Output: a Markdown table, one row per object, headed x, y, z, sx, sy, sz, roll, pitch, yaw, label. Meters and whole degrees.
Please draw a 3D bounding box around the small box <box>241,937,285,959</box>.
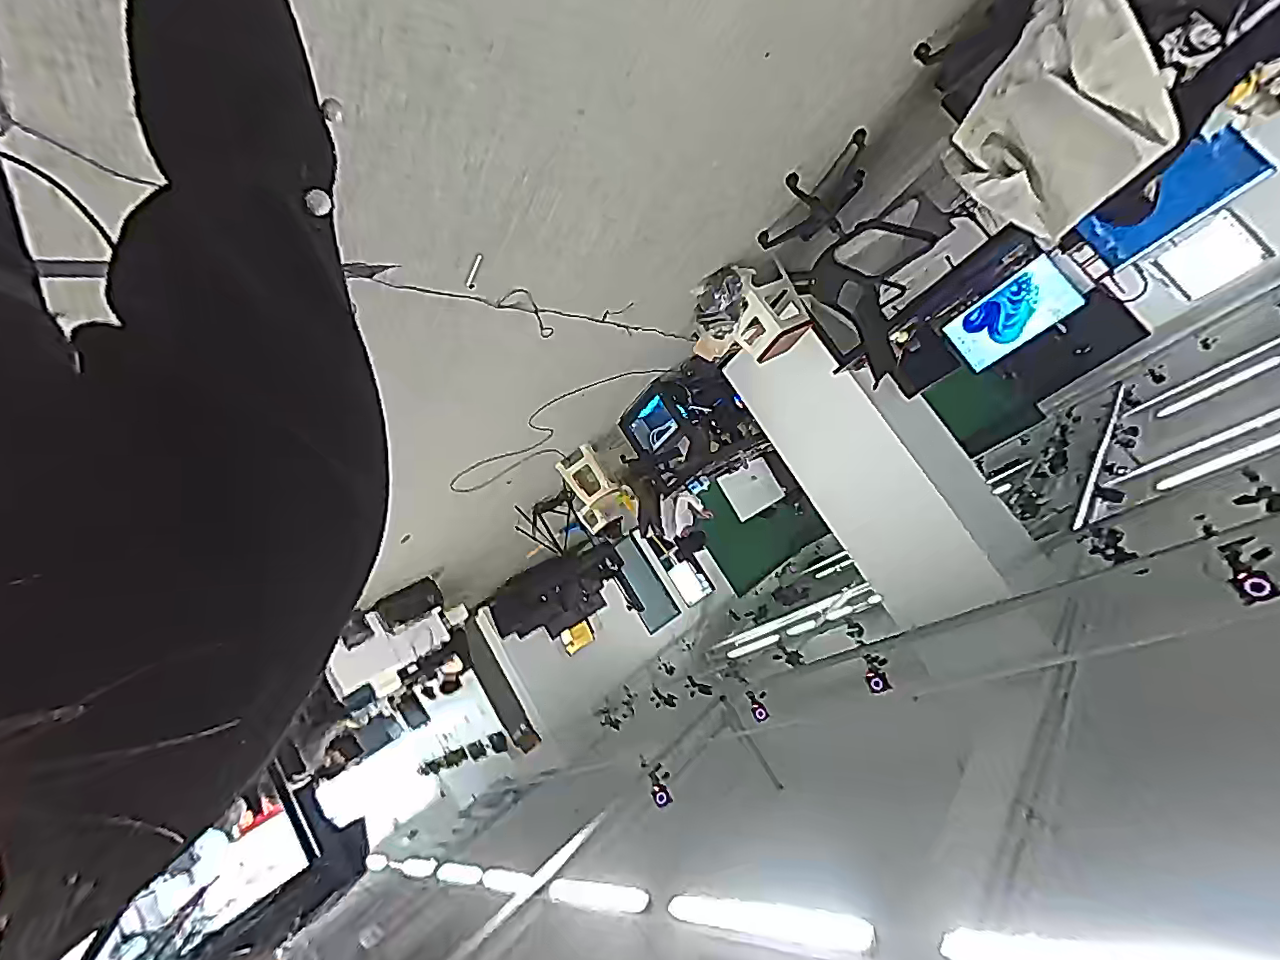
| x | y | z | sx | sy | sz | roll | pitch | yaw | label |
| --- | --- | --- | --- | --- | --- | --- | --- | --- | --- |
| -0.939 | 1.260 | 1.302 | 0.168 | 0.176 | 0.179 | -22 | 168 | -41 | small box |
